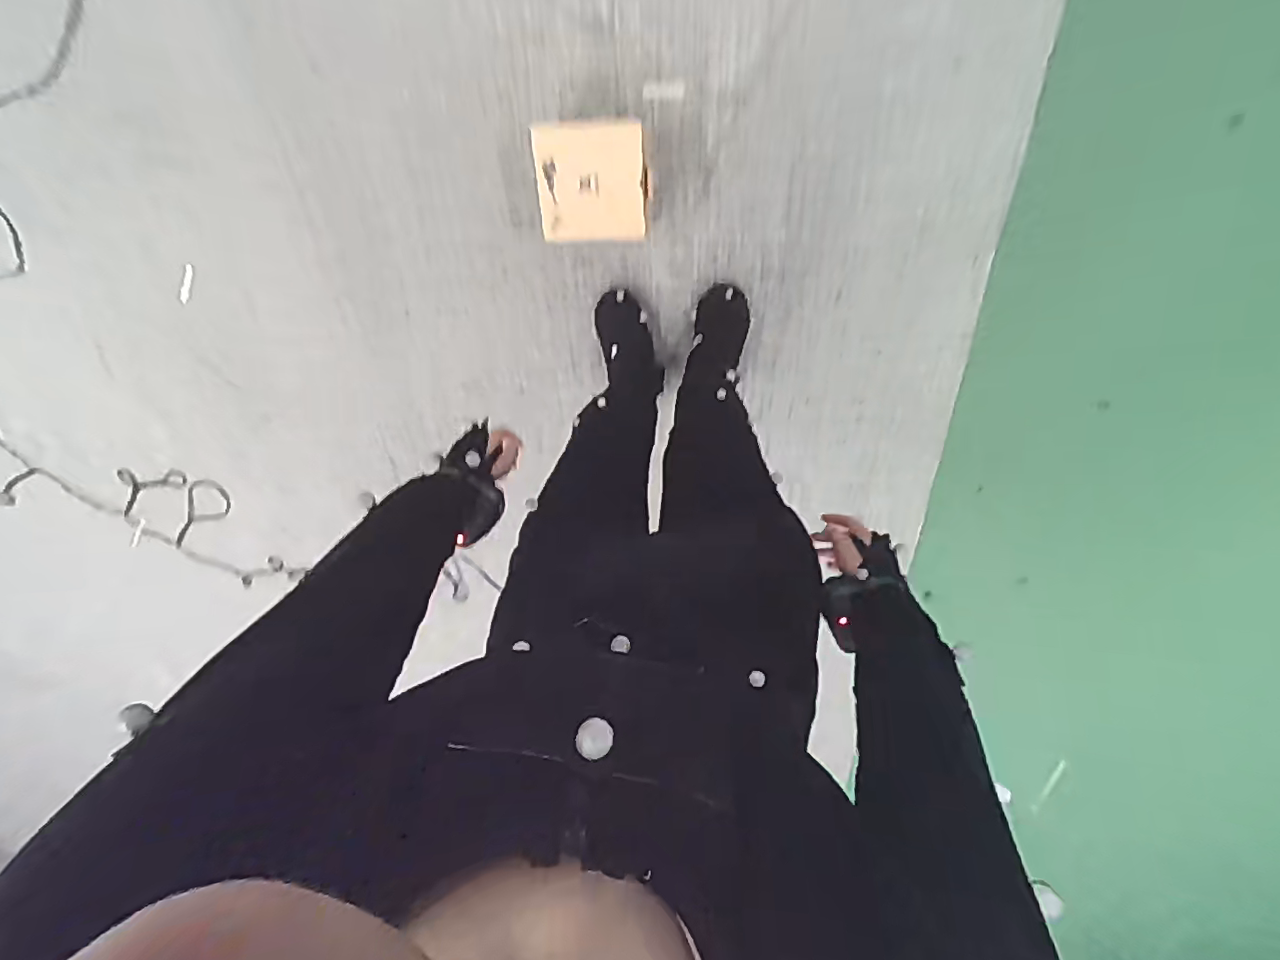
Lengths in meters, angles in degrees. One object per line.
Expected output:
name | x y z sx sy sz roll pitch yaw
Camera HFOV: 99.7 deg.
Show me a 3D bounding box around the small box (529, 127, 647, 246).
small box | -0.079 -0.511 0.938 0.179 0.176 0.168 0 123 5
